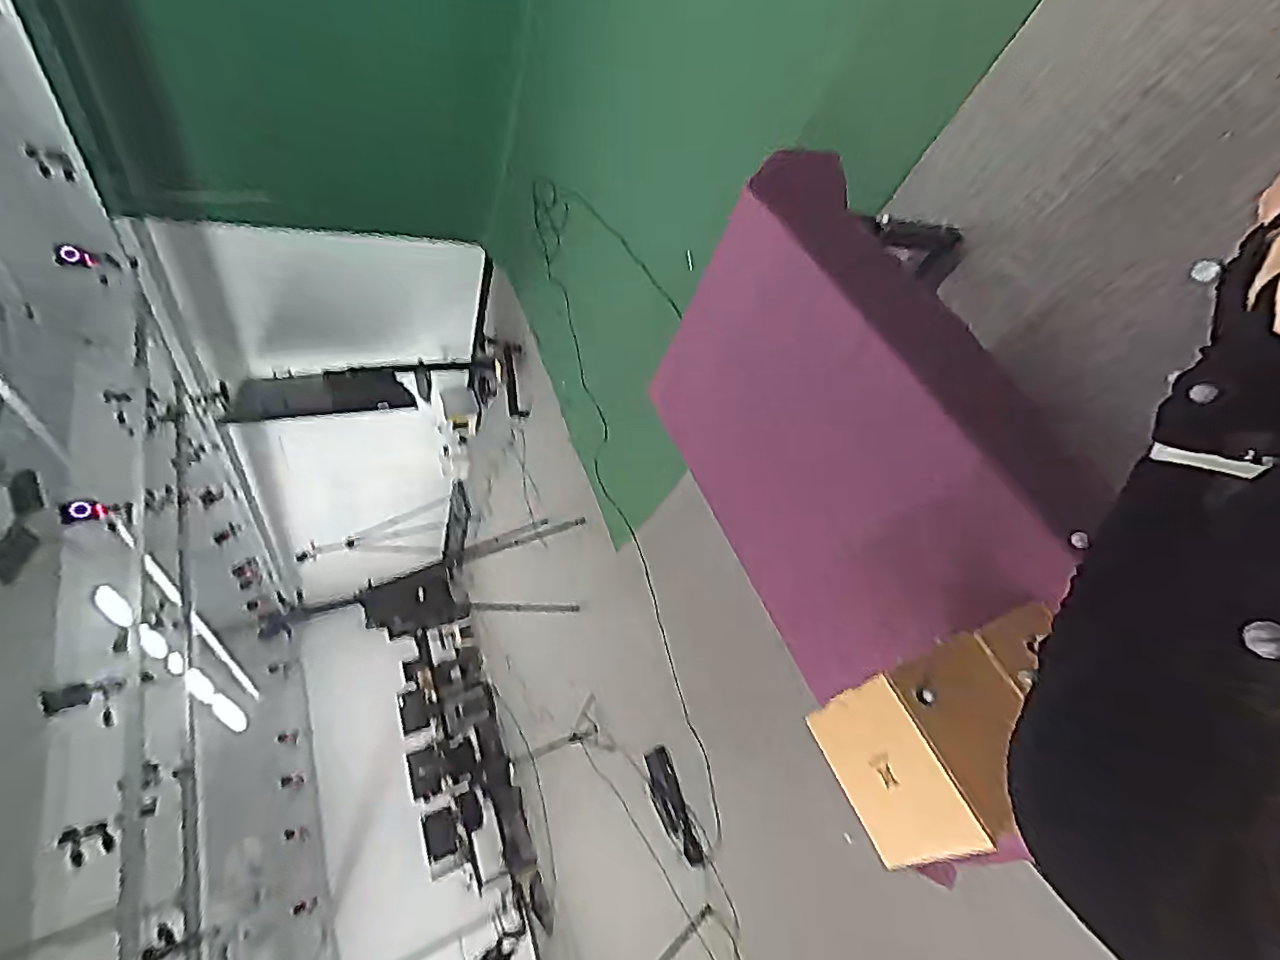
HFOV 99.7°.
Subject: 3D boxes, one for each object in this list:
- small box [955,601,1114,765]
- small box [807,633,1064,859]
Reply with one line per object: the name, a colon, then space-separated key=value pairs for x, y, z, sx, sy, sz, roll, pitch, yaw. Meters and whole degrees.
small box: x=0.485 y=0.285 z=0.733 sx=0.168 sy=0.176 sz=0.179 roll=63 pitch=147 yaw=28
small box: x=0.347 y=0.313 z=0.651 sx=0.179 sy=0.176 sz=0.168 roll=63 pitch=146 yaw=31
